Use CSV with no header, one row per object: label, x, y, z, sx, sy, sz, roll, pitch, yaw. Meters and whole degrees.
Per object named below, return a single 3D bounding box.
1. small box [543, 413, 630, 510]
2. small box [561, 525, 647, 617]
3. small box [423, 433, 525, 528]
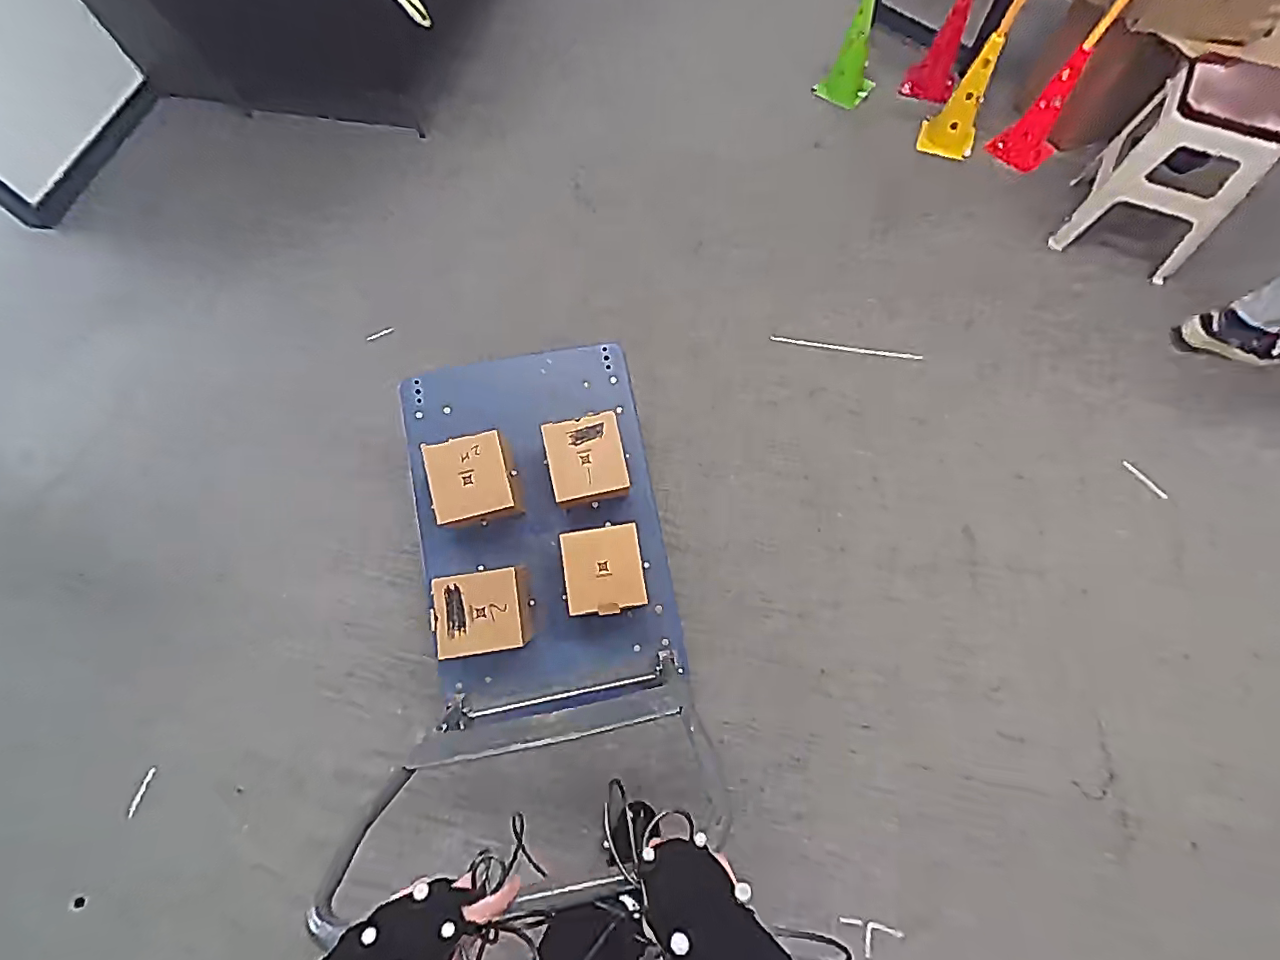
small box,-0.119,-0.036,1.246,0.168,0.176,0.179,-12,83,-2
small box,-0.080,0.202,1.214,0.168,0.176,0.179,-9,83,-2
small box,-0.371,0.008,1.235,0.168,0.176,0.179,-14,82,-4
